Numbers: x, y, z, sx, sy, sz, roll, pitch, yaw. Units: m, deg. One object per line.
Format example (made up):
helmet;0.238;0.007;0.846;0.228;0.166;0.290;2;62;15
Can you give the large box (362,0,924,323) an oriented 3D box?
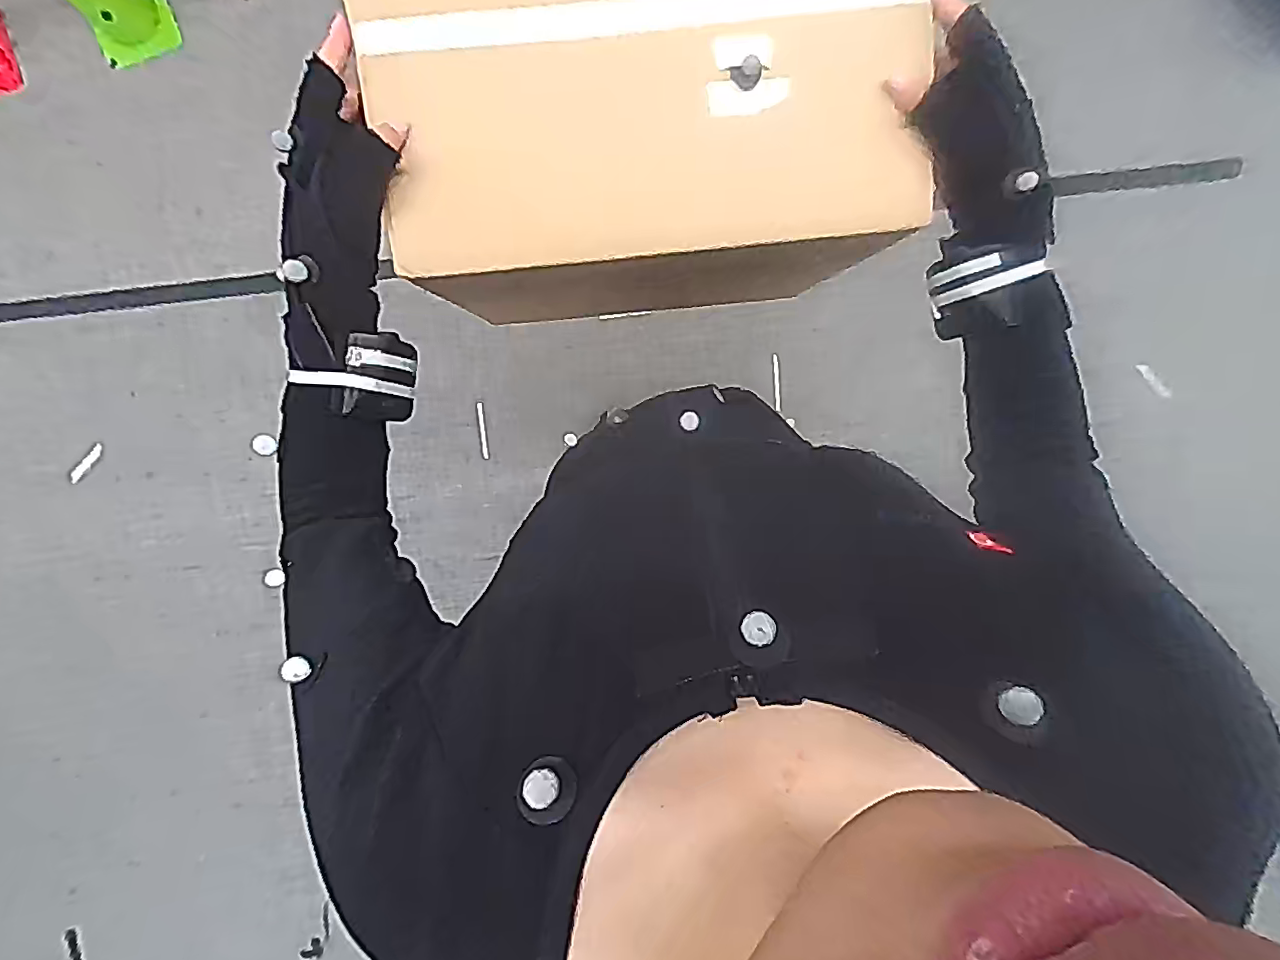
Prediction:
large box;-0.003;-0.352;0.533;0.408;0.320;0.320;-7;100;-2
